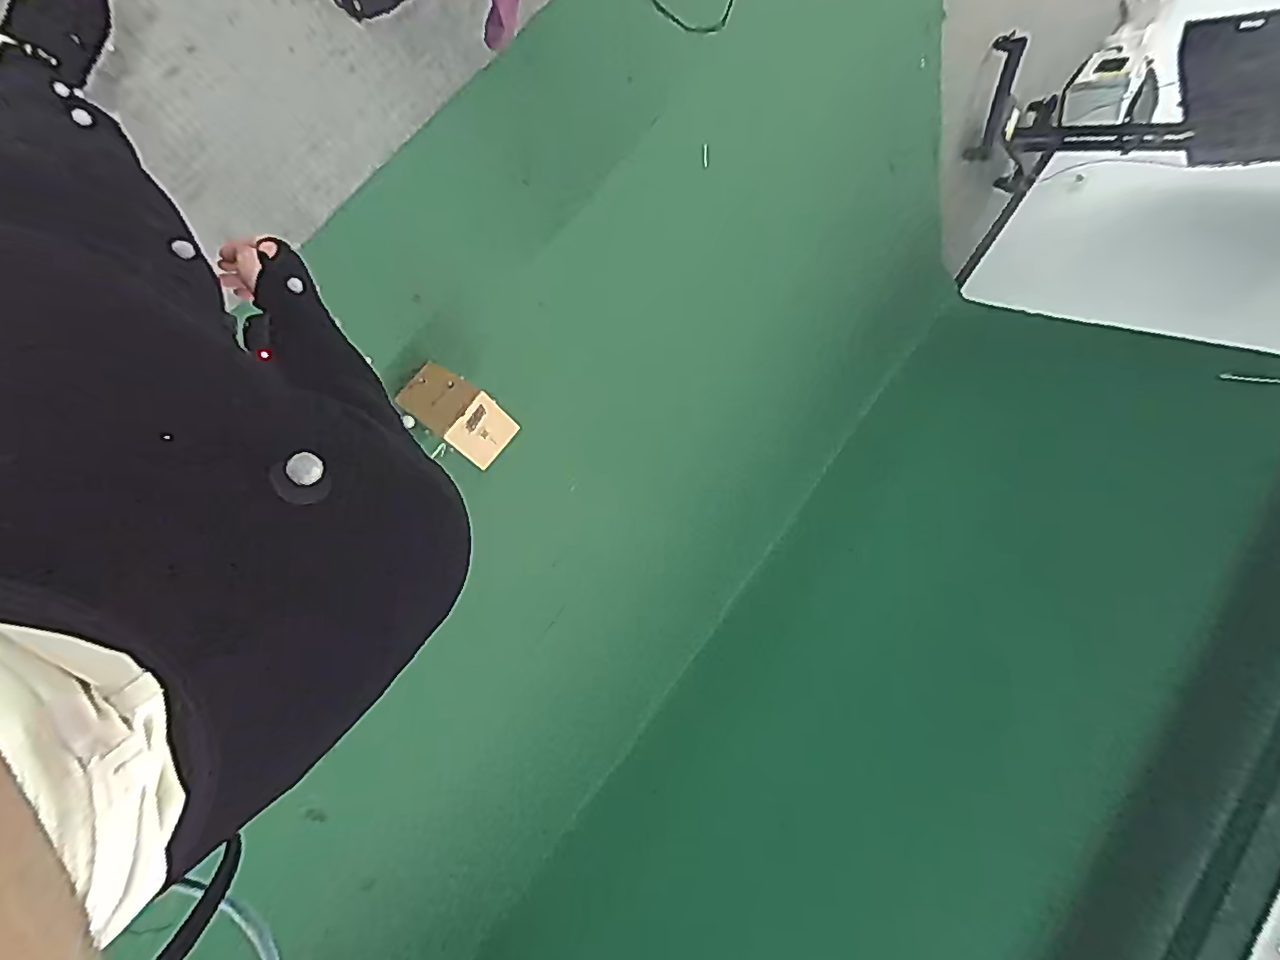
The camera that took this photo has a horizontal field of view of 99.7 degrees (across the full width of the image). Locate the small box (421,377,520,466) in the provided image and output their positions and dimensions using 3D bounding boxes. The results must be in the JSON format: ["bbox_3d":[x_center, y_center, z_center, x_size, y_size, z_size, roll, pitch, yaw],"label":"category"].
[{"bbox_3d":[-0.487,-0.174,1.547,0.168,0.176,0.179,-52,141,-10],"label":"small box"}]

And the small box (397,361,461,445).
[{"bbox_3d":[-0.597,-0.237,1.650,0.168,0.176,0.179,-52,140,-10],"label":"small box"}]
